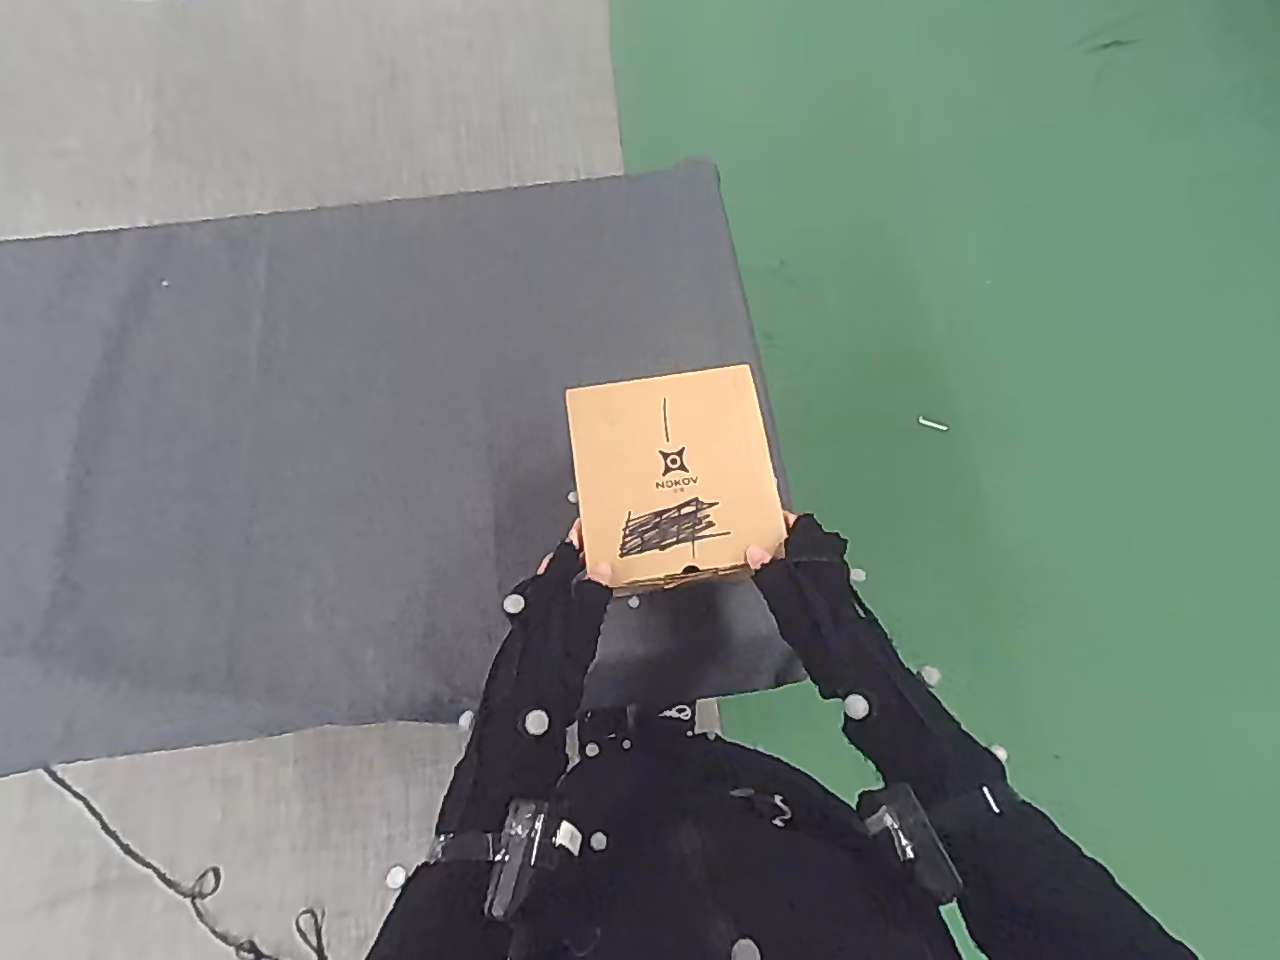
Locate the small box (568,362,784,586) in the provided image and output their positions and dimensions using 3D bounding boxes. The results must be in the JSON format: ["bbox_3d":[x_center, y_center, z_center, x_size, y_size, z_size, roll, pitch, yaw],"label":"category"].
[{"bbox_3d":[0.029,0.008,0.534,0.168,0.176,0.179,-8,75,-1],"label":"small box"}]
